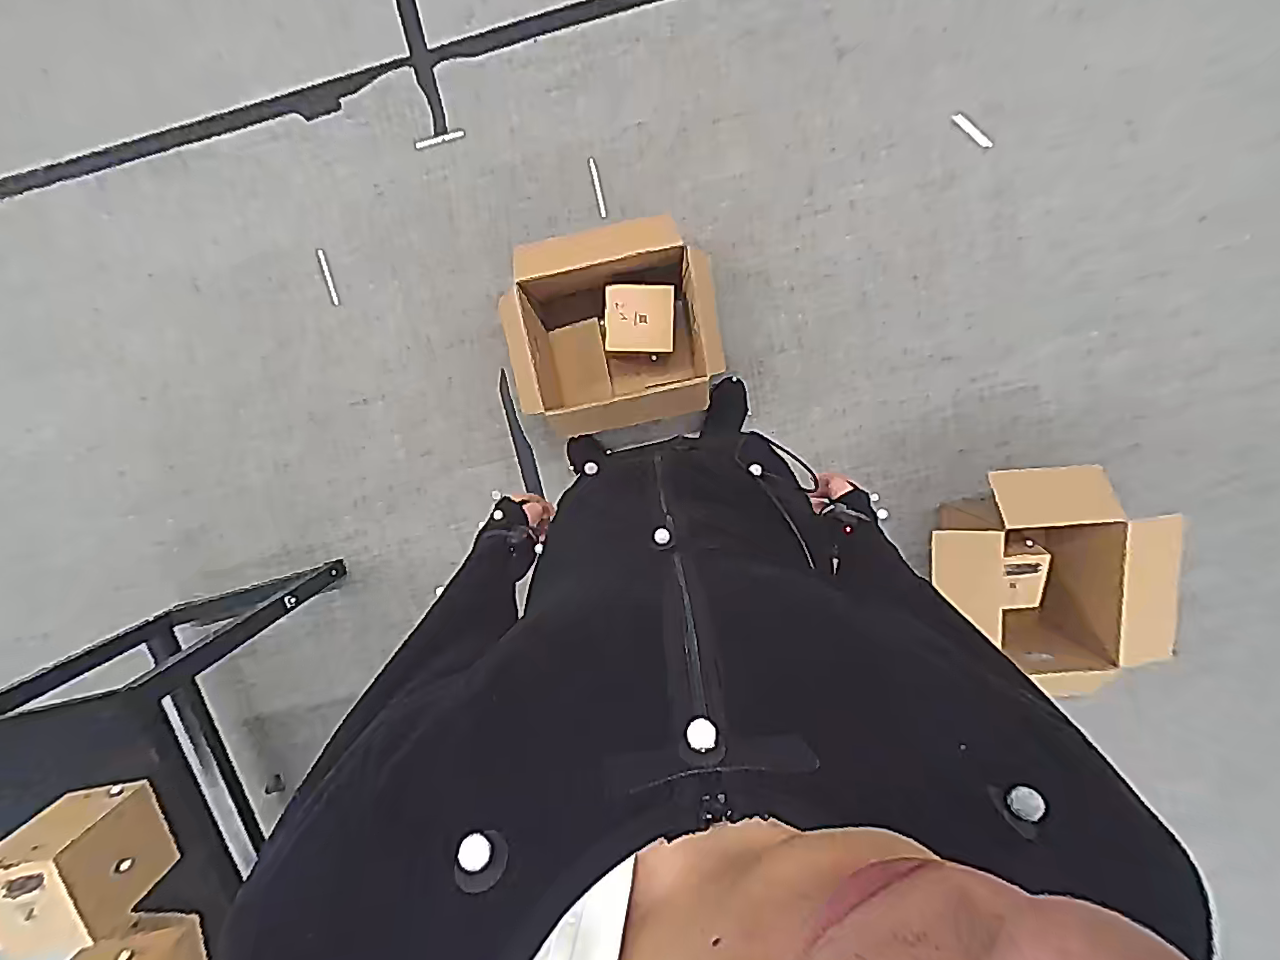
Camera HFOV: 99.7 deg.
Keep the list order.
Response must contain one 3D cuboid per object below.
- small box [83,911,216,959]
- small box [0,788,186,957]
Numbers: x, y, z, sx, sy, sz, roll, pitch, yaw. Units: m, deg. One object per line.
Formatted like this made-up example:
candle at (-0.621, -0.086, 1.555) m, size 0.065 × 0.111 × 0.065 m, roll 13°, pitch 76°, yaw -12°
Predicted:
small box at (-0.932, 0.944, 1.003) m, size 0.168 × 0.176 × 0.179 m, roll 0°, pitch 102°, yaw 2°
small box at (-0.962, 0.671, 0.947) m, size 0.168 × 0.176 × 0.179 m, roll -12°, pitch 102°, yaw 4°
